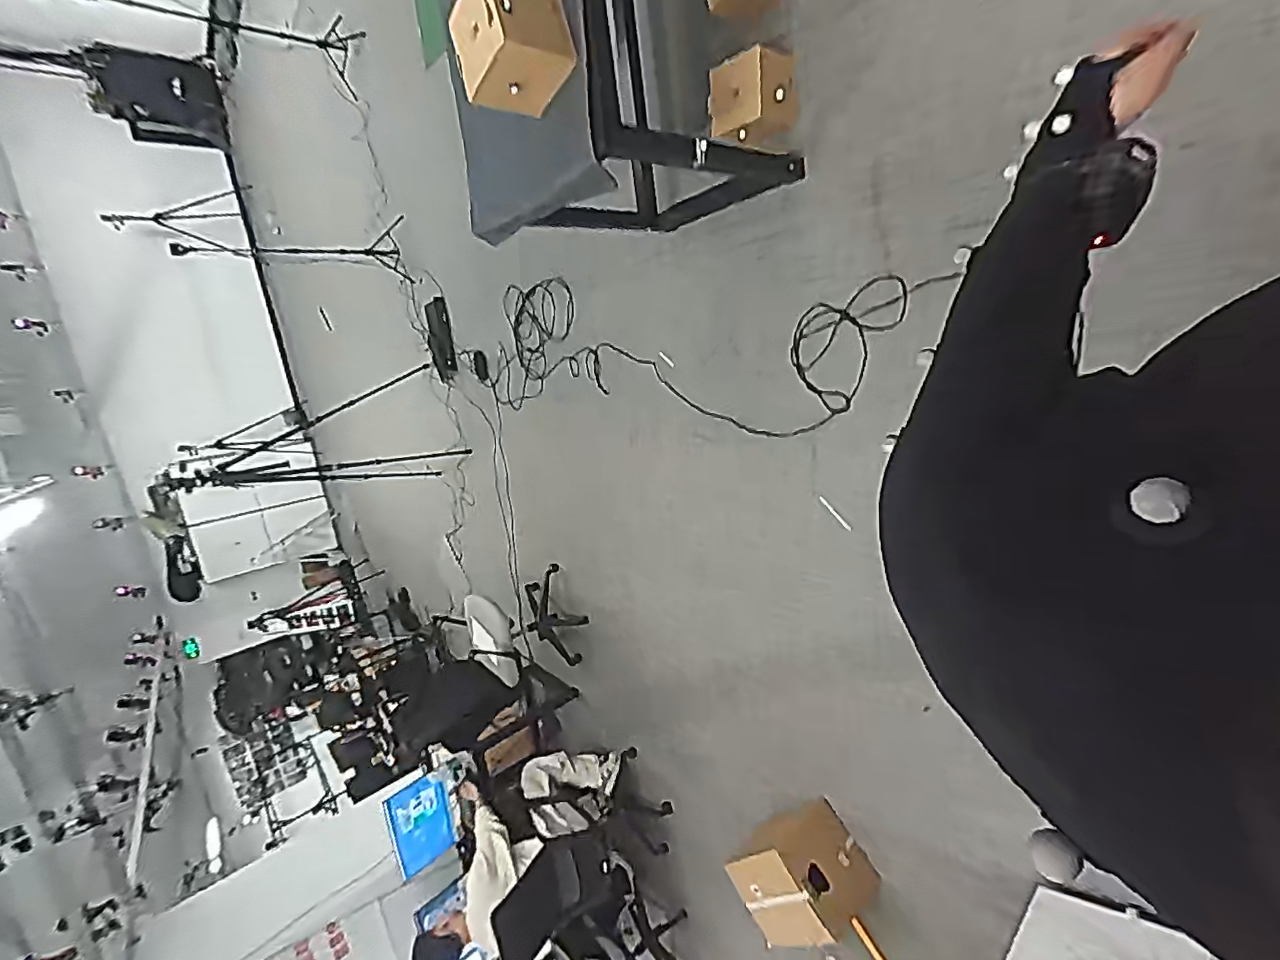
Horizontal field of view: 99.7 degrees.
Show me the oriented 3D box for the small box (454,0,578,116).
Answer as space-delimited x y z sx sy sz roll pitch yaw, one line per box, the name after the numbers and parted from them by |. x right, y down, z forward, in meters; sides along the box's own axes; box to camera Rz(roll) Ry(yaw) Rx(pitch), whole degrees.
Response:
-0.251 -0.881 1.099 0.179 0.176 0.168 -13 95 52 | small box

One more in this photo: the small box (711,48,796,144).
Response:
0.323 -1.067 1.515 0.179 0.176 0.168 13 115 48 | small box
